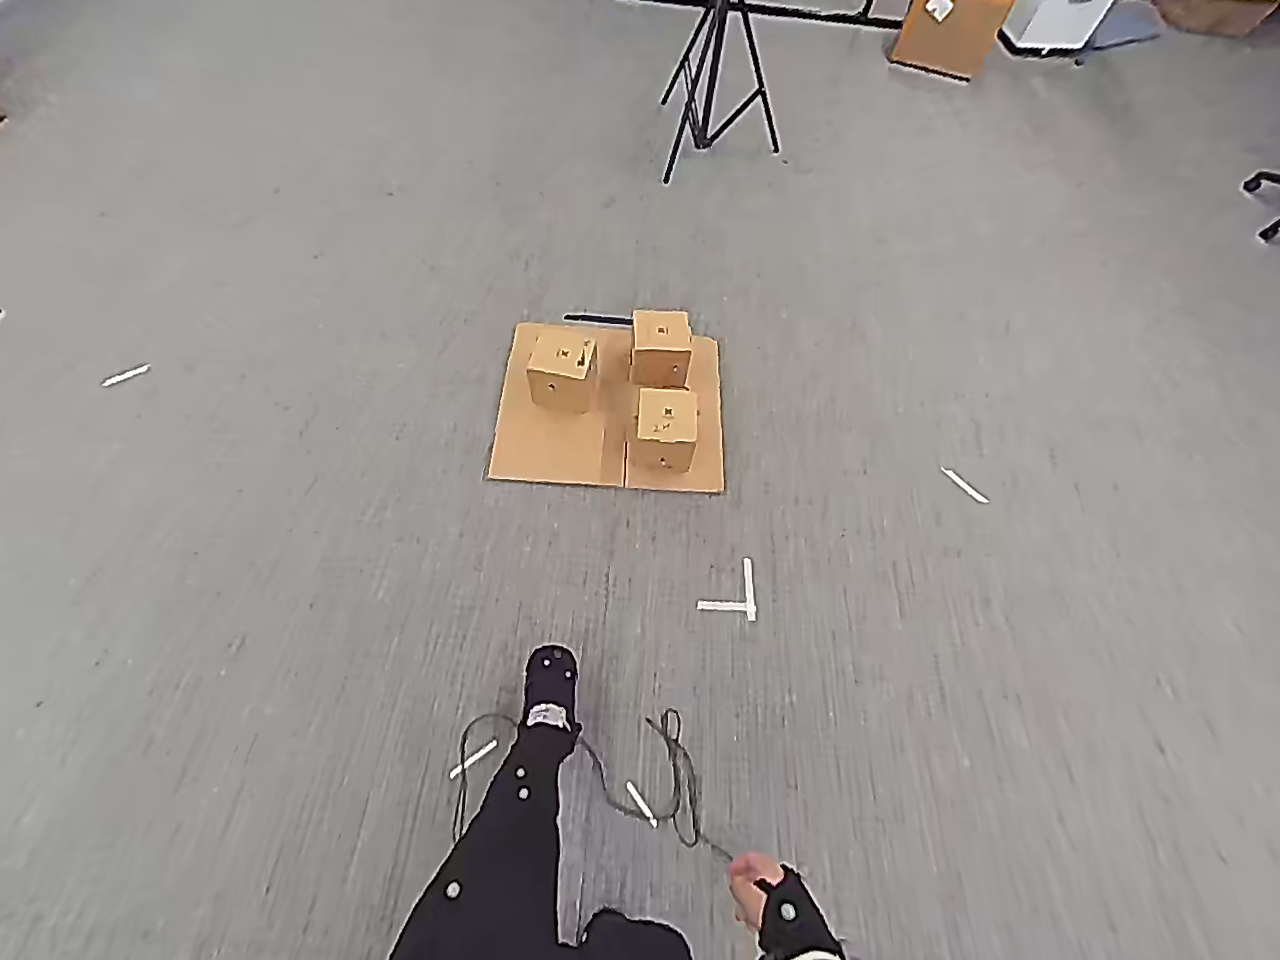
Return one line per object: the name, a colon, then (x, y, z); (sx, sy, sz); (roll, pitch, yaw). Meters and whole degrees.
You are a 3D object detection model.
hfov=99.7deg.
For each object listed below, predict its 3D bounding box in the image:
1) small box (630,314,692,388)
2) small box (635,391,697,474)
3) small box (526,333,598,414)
small box: (0.062, -0.408, 1.733); (0.179, 0.176, 0.168); (0, 61, -5)
small box: (0.074, -0.136, 1.587); (0.168, 0.176, 0.179); (4, 63, -1)
small box: (-0.233, -0.322, 1.662); (0.179, 0.176, 0.168); (11, 62, 3)
